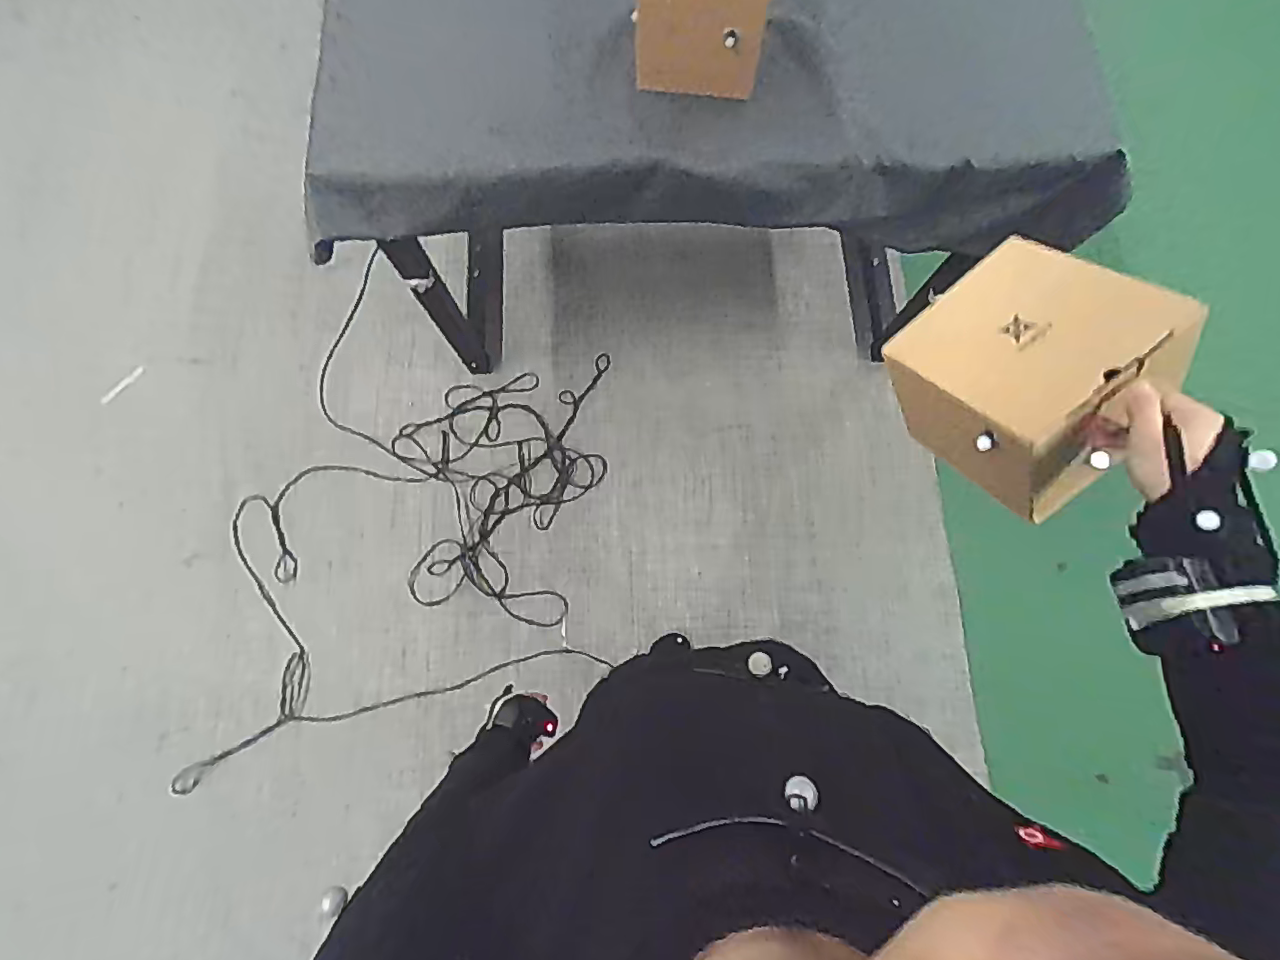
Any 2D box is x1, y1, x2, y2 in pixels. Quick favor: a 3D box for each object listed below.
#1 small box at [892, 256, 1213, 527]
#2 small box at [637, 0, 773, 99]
[{"bbox_3d":[0.393,-0.083,0.547,0.168,0.176,0.179,-41,47,7],"label":"small box"},{"bbox_3d":[0.092,-0.681,0.766,0.179,0.176,0.168,6,75,2],"label":"small box"}]
